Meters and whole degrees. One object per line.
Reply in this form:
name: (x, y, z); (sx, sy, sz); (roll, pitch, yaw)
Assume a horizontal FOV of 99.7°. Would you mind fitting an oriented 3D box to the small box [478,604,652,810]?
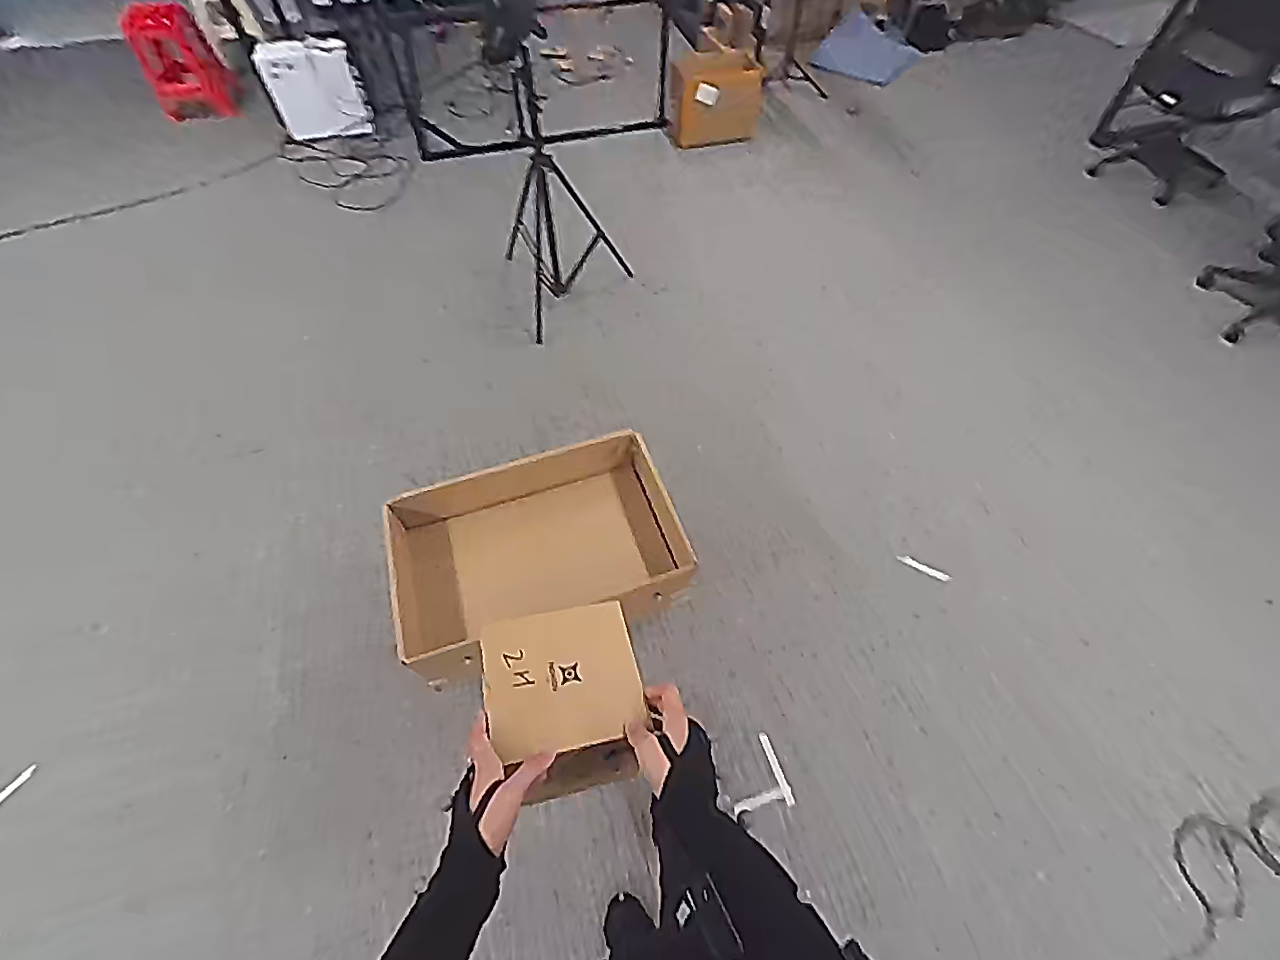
small box: (-0.099, 0.279, 0.669); (0.179, 0.176, 0.168); (-7, 47, -15)
